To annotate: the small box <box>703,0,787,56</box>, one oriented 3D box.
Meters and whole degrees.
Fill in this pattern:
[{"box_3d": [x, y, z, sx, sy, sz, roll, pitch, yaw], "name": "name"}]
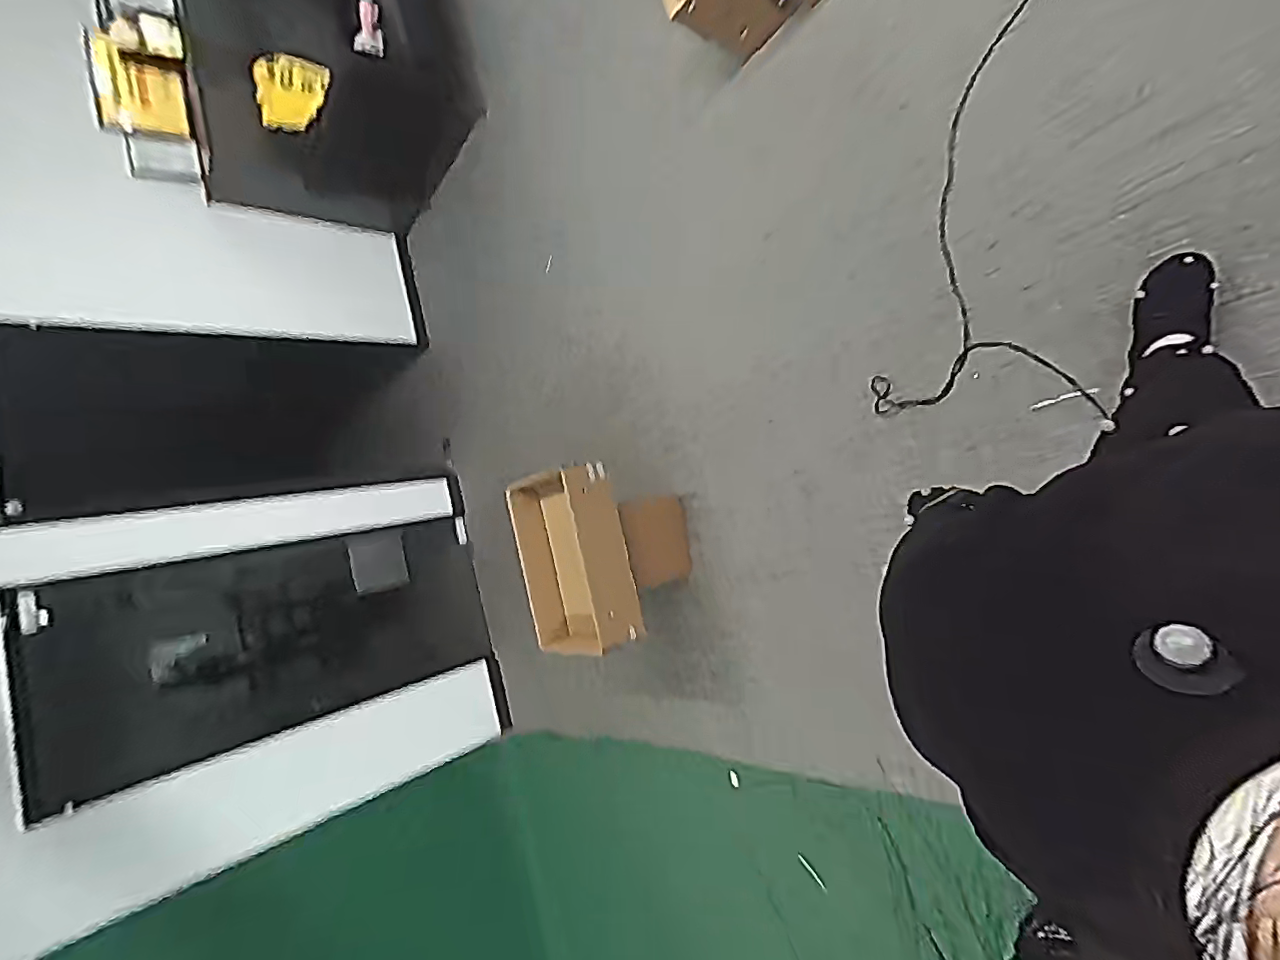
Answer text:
[{"box_3d": [0.313, -1.421, 1.598, 0.179, 0.176, 0.168, -21, 81, 49], "name": "small box"}]
